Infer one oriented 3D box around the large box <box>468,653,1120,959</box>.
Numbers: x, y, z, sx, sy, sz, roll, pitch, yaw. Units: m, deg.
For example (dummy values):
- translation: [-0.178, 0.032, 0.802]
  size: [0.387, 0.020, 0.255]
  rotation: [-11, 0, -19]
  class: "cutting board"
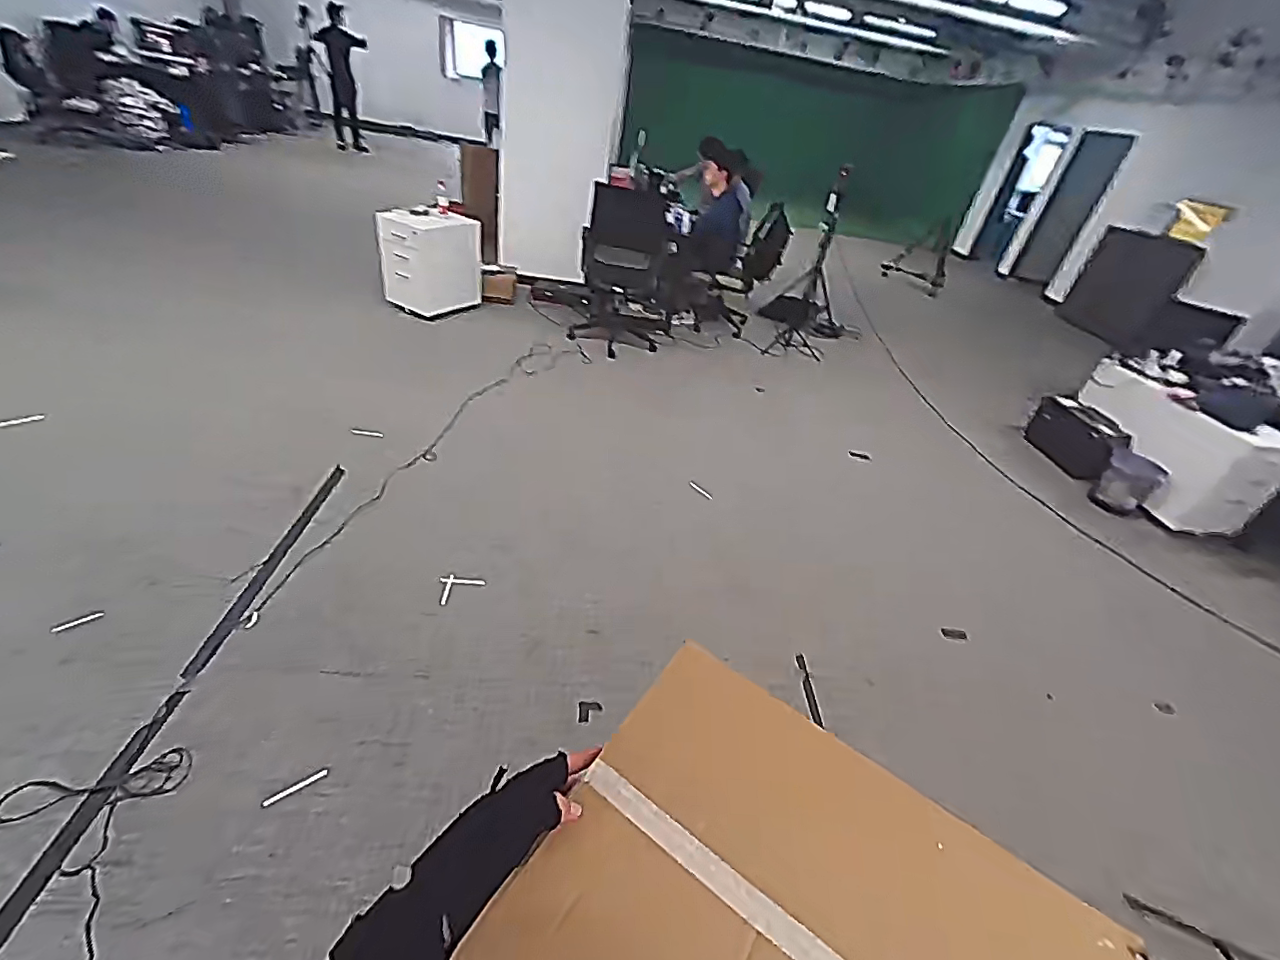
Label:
- translation: [0.111, 0.451, 0.499]
  size: [0.408, 0.320, 0.320]
  rotation: [29, 48, 23]
  class: "large box"
